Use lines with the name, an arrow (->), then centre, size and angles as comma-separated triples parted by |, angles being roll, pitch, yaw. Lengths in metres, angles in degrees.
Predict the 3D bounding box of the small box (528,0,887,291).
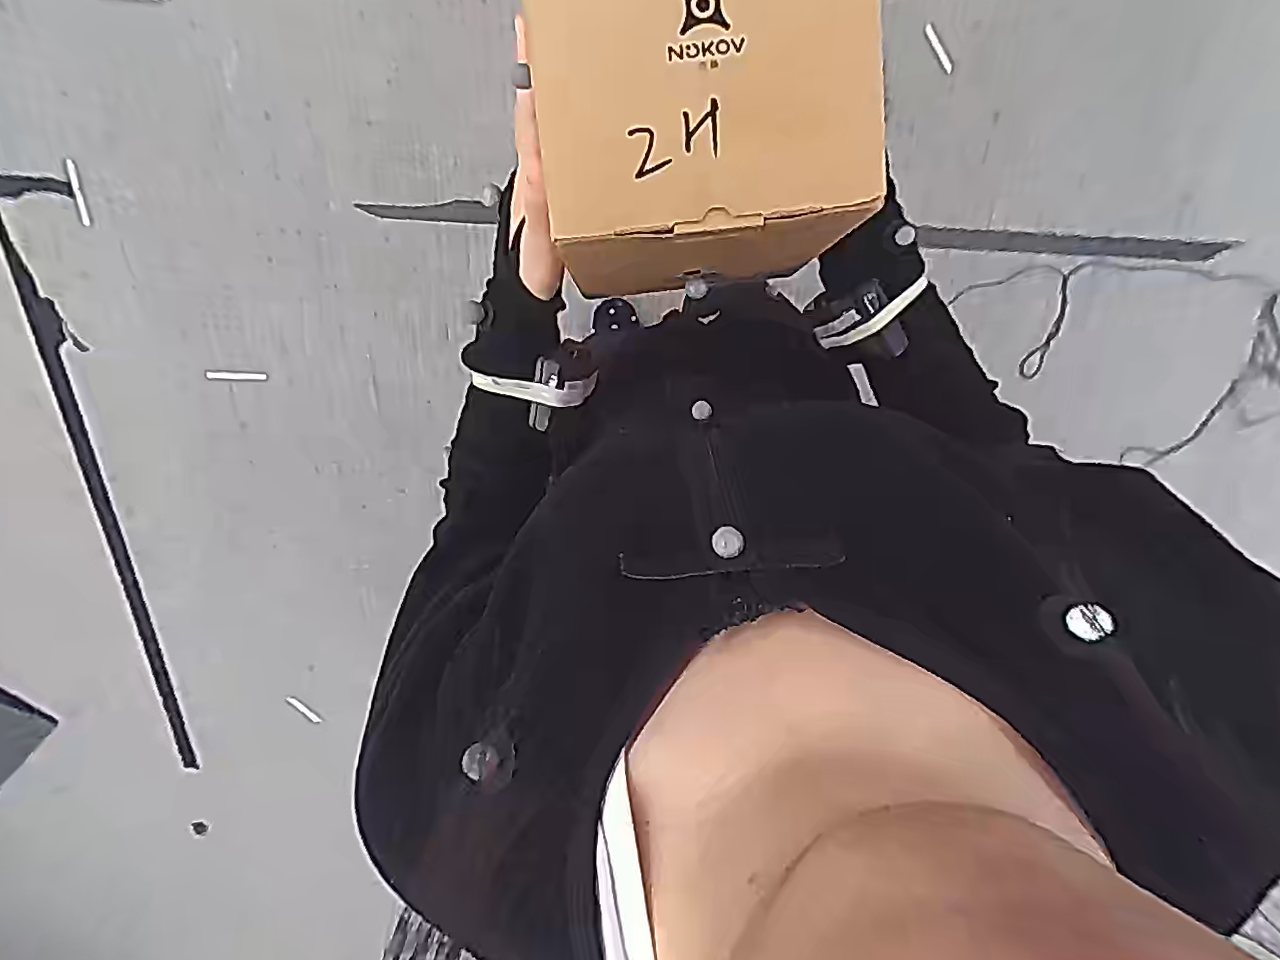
small box -> 0.029, -0.227, 0.327 | 0.168, 0.176, 0.179 | -6, 100, 1
